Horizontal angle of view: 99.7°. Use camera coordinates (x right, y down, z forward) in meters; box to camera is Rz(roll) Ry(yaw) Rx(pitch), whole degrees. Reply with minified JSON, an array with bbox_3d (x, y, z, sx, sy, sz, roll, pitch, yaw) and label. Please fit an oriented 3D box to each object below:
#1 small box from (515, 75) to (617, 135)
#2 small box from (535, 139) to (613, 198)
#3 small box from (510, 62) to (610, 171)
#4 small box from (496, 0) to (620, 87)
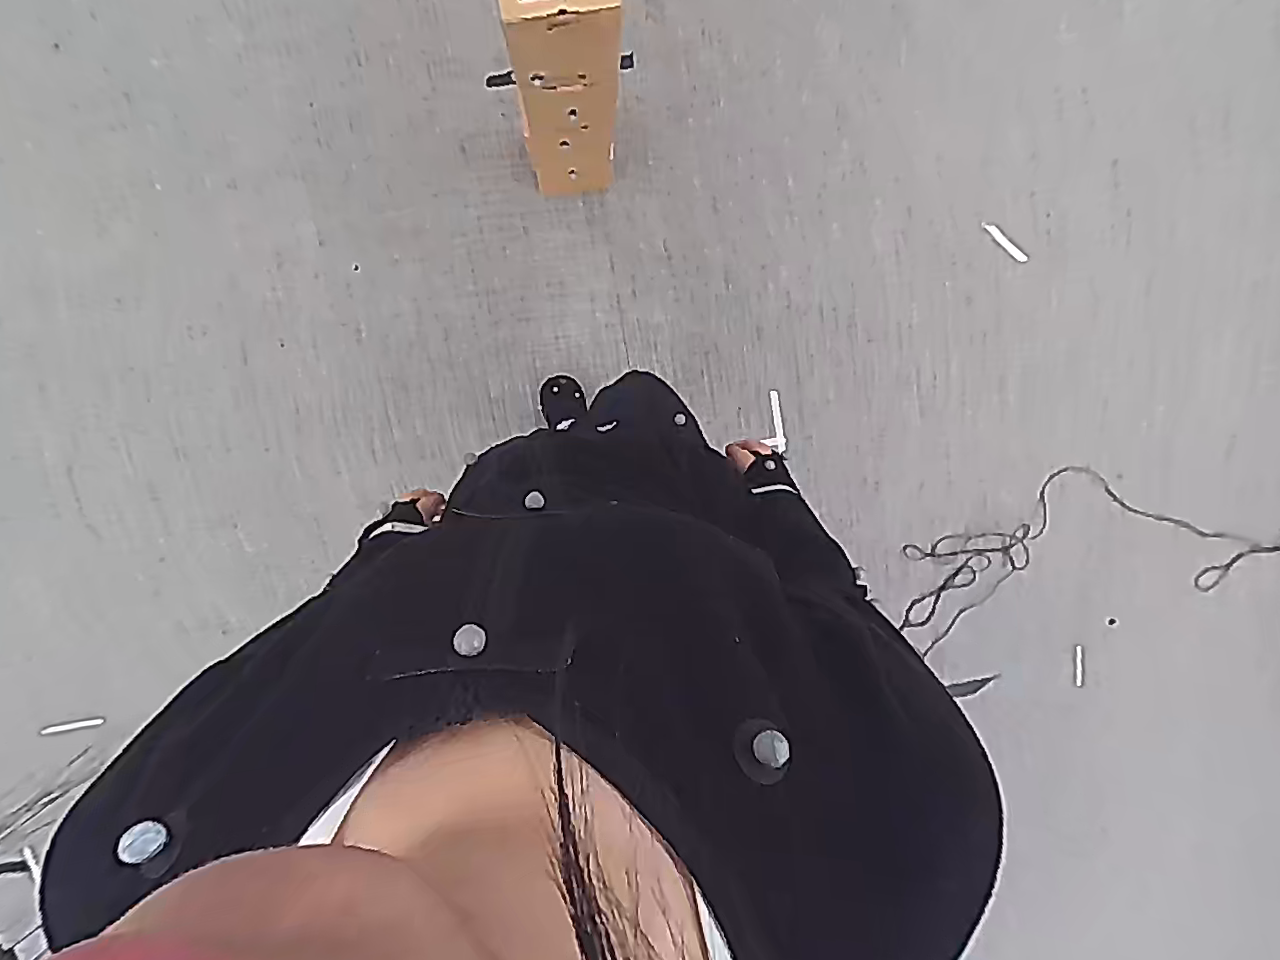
[{"bbox_3d":[-0.133,-0.729,0.944,0.168,0.176,0.179,-8,101,-4],"label":"small box"},{"bbox_3d":[-0.166,-0.783,1.266,0.179,0.176,0.168,-10,100,-4],"label":"small box"},{"bbox_3d":[-0.157,-0.752,1.105,0.179,0.176,0.168,-7,101,-4],"label":"small box"},{"bbox_3d":[-0.121,-0.704,0.782,0.168,0.176,0.179,-9,99,-4],"label":"small box"}]
